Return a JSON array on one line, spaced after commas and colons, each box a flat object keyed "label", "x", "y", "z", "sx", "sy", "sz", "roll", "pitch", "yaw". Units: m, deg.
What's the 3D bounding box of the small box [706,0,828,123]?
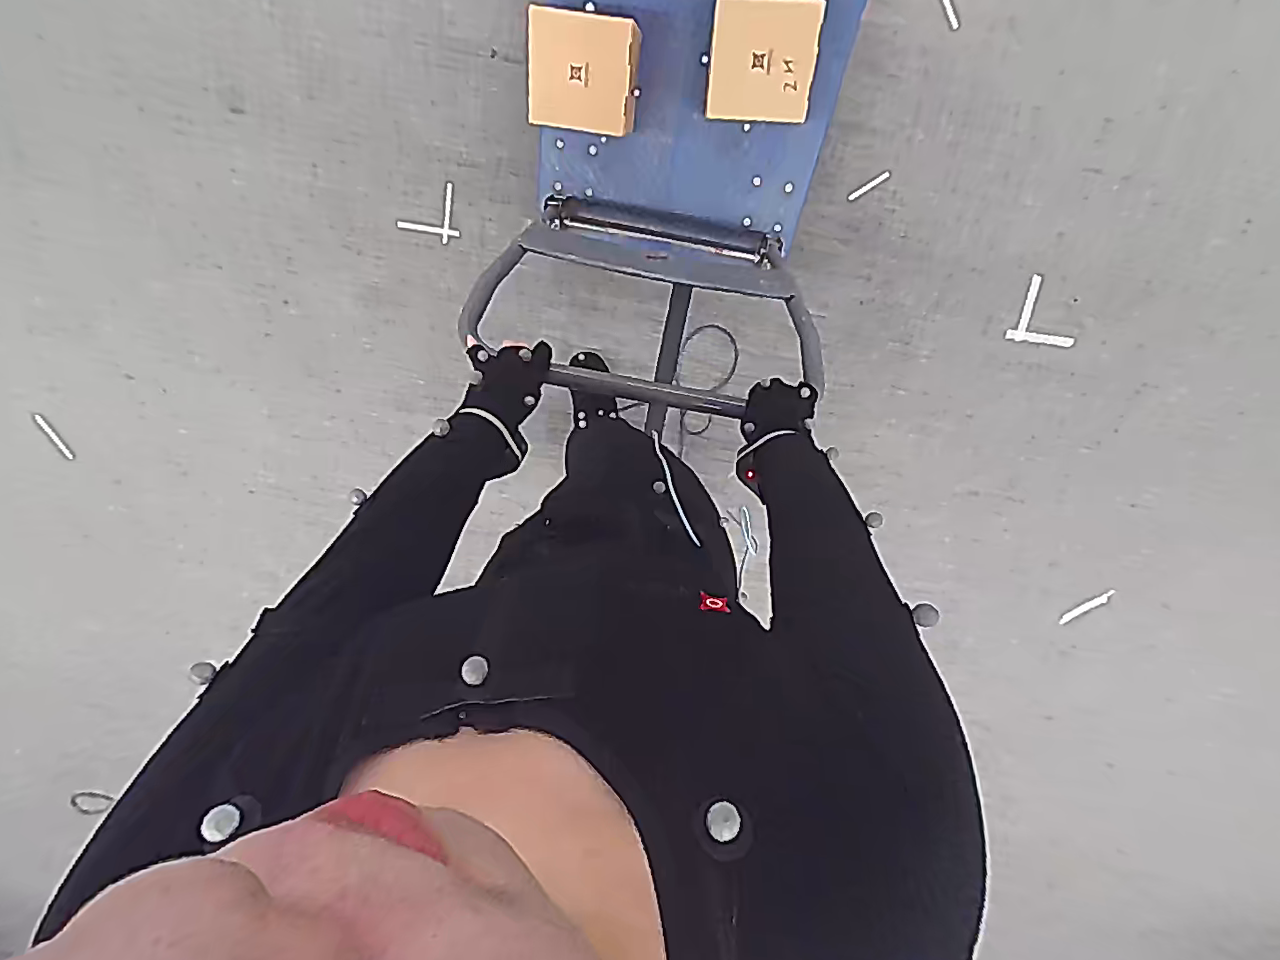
[{"label": "small box", "x": 0.214, "y": -0.741, "z": 0.964, "sx": 0.179, "sy": 0.176, "sz": 0.168, "roll": 5, "pitch": 125, "yaw": 3}]

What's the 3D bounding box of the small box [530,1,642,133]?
[{"label": "small box", "x": -0.097, "y": -0.747, "z": 0.994, "sx": 0.179, "sy": 0.176, "sz": 0.168, "roll": 8, "pitch": 124, "yaw": -1}]
